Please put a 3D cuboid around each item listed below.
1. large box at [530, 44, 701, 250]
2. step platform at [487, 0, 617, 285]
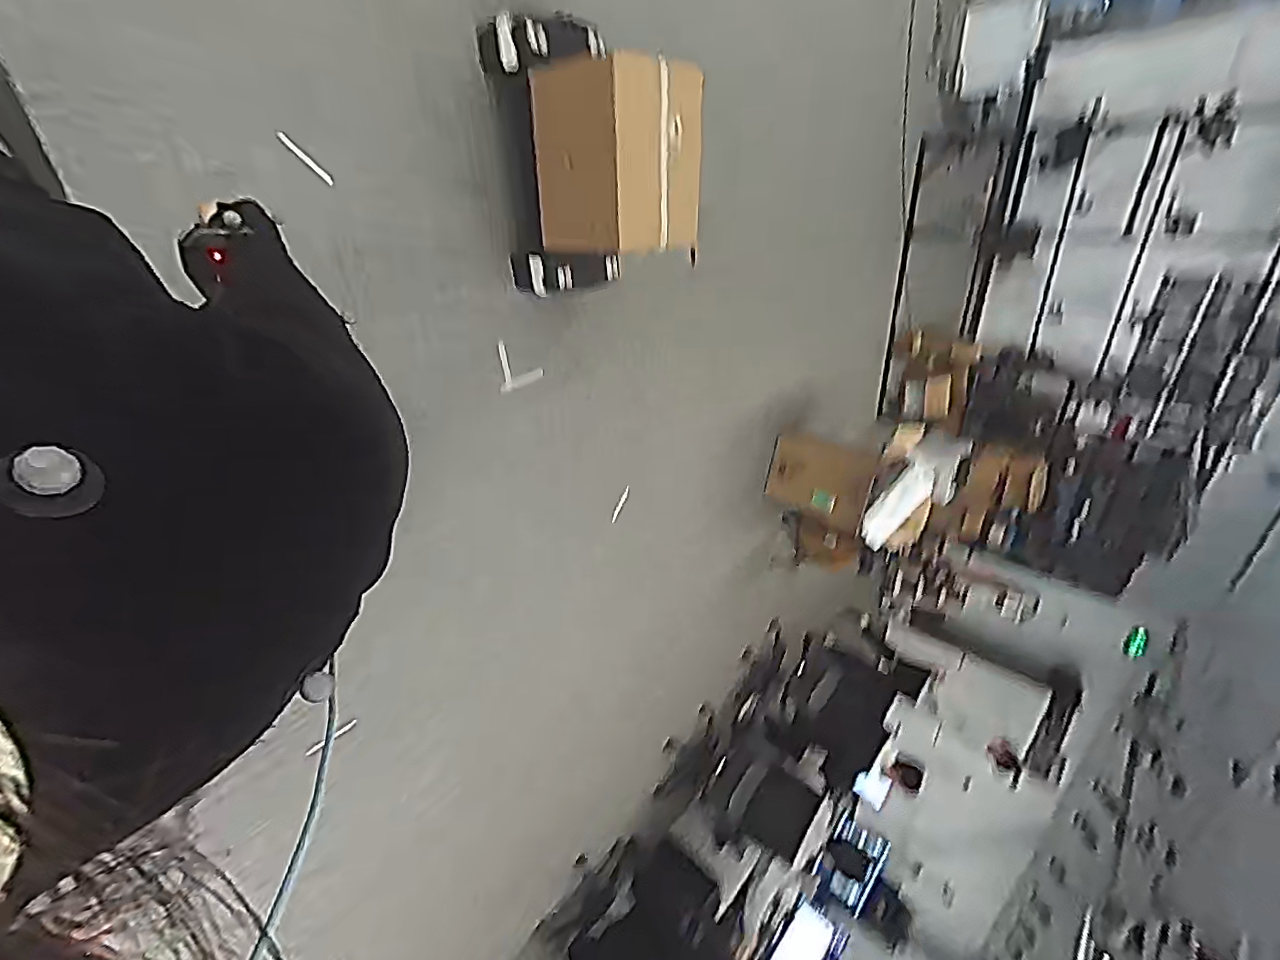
[{"bbox_3d":[-0.054,-0.833,1.415,0.320,0.320,0.408,-27,125,-40],"label":"large box"},{"bbox_3d":[-0.231,-0.923,1.550,0.286,0.204,0.684,-24,123,-41],"label":"step platform"}]
